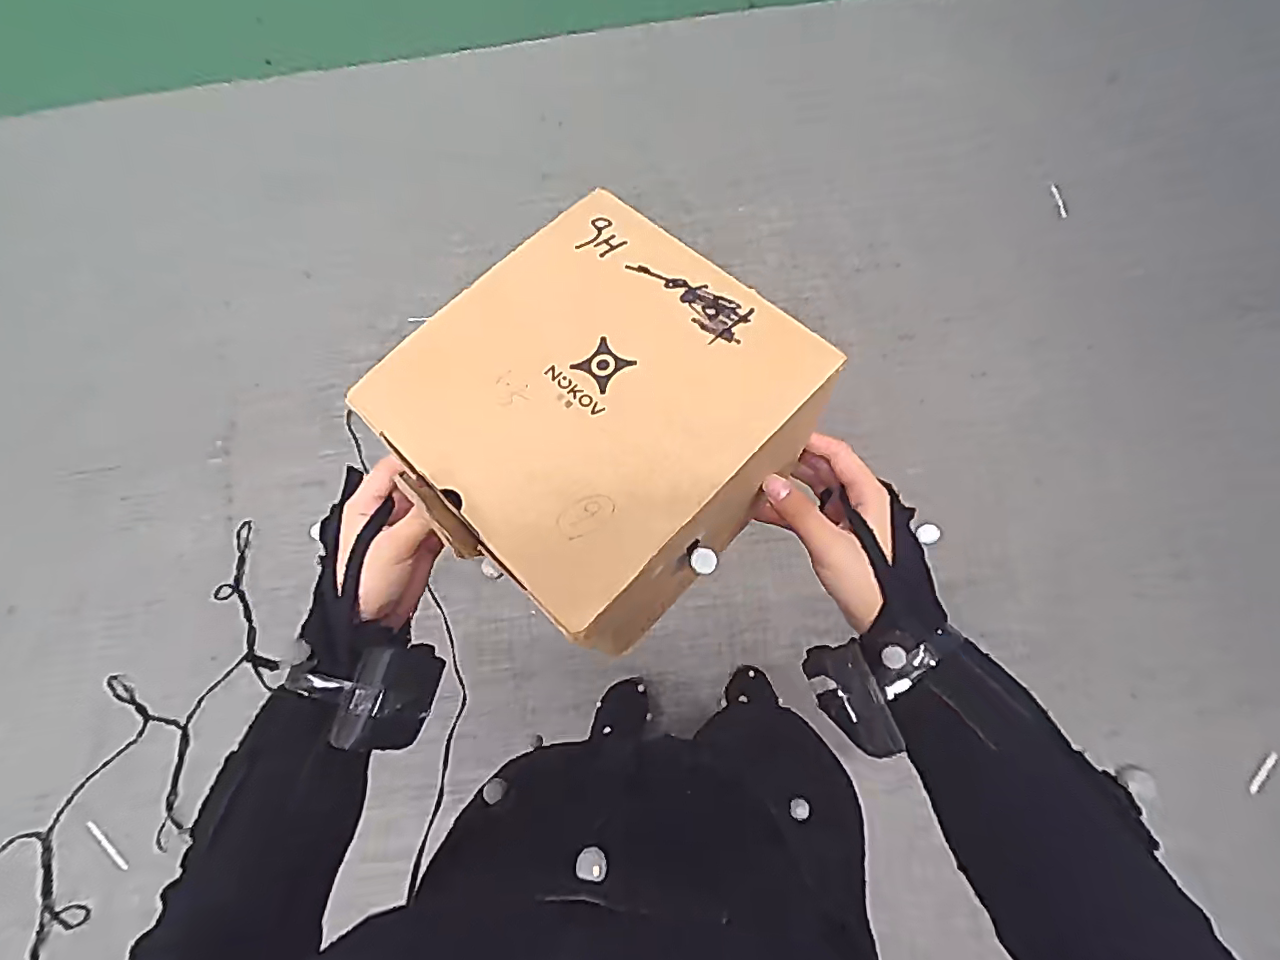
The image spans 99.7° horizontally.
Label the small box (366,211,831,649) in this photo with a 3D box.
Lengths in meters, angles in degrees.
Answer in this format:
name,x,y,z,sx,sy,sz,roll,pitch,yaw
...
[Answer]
name,x,y,z,sx,sy,sz,roll,pitch,yaw
small box,-0.016,-0.014,0.338,0.168,0.176,0.179,41,78,17
